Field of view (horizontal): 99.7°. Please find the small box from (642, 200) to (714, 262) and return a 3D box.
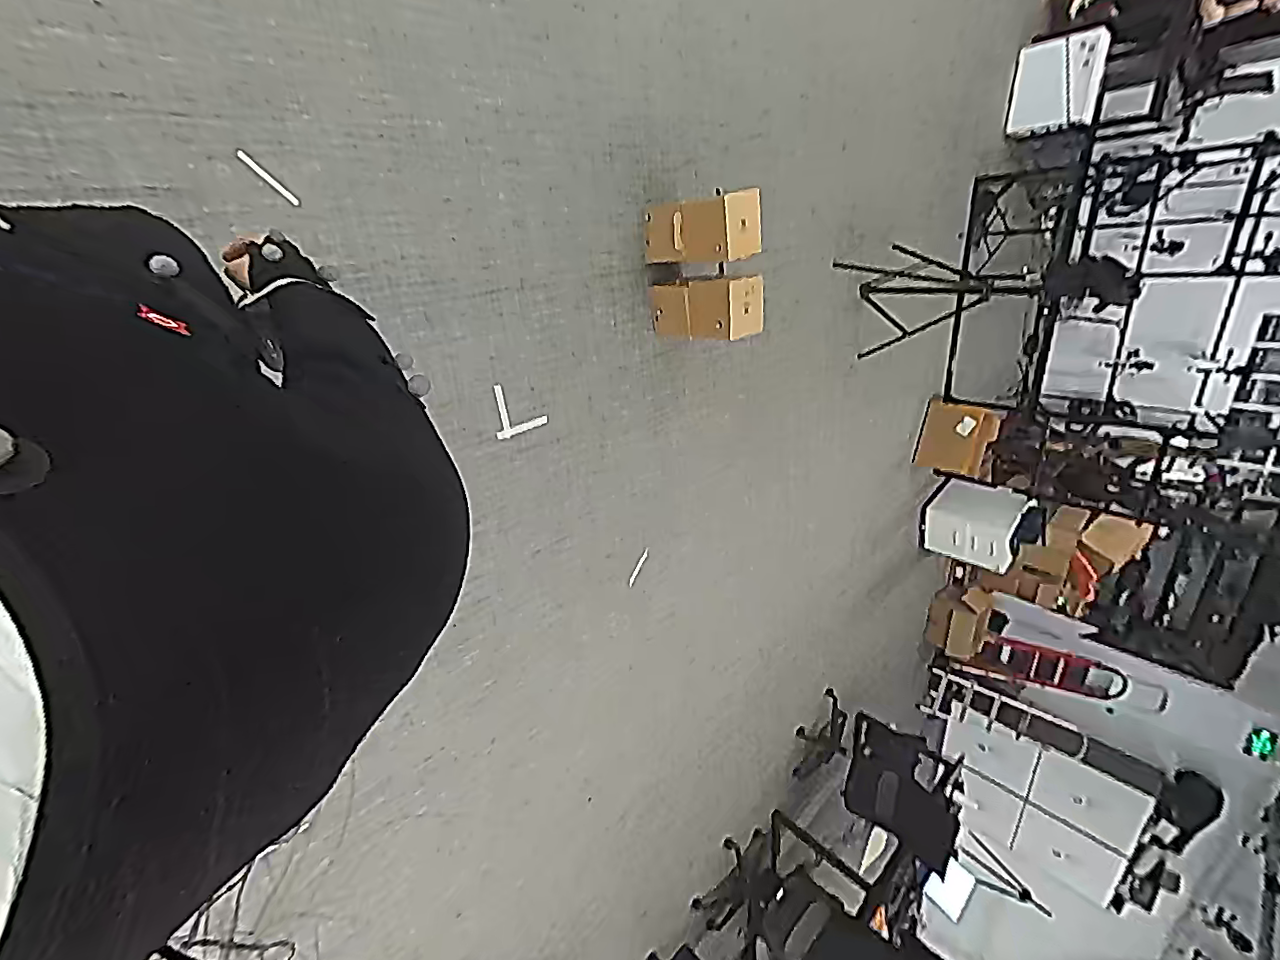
[{"bbox_3d":[0.117,-0.796,1.734,0.179,0.176,0.168,-23,119,-38],"label":"small box"}]
